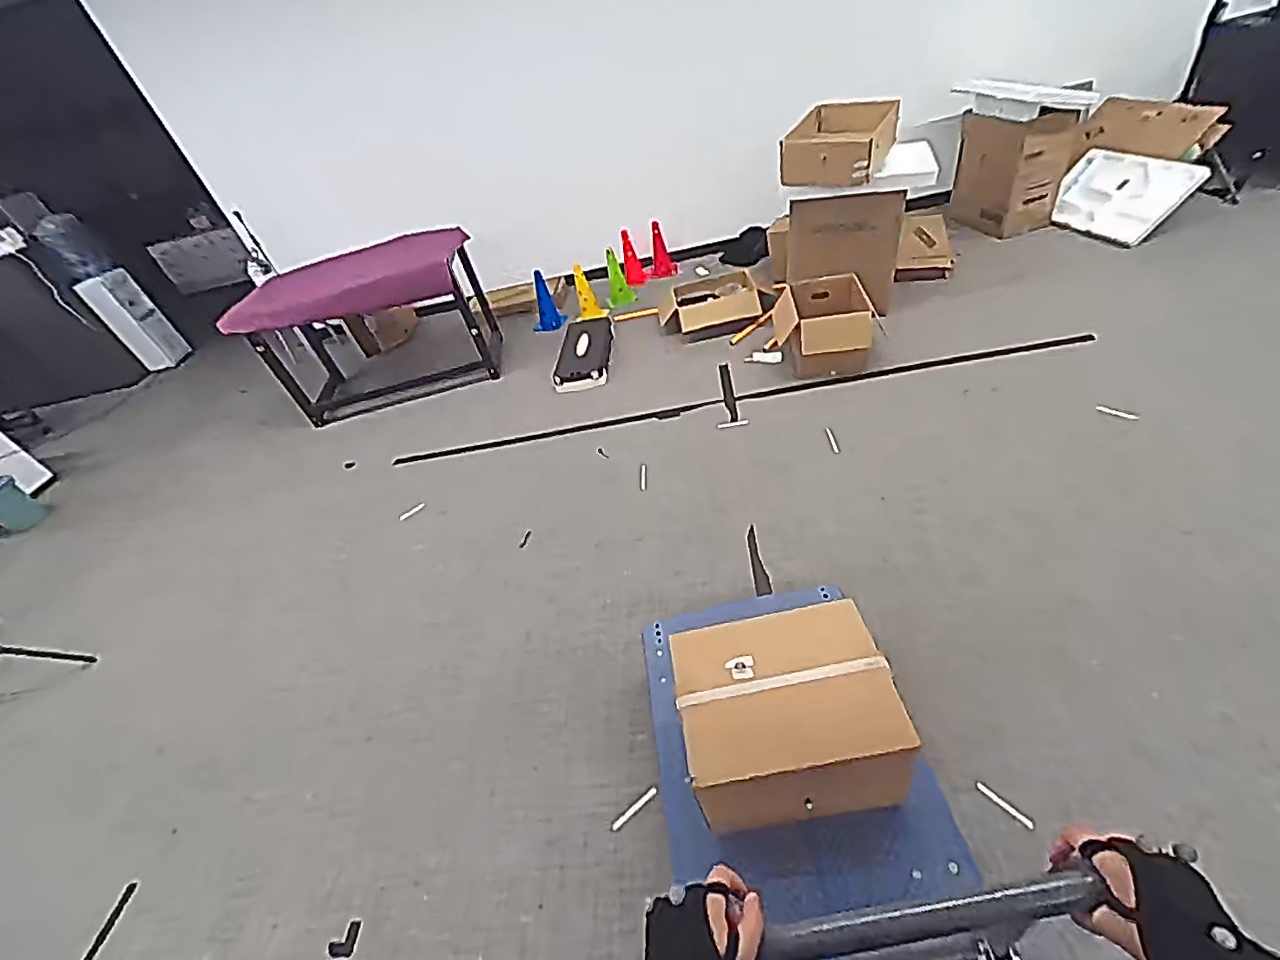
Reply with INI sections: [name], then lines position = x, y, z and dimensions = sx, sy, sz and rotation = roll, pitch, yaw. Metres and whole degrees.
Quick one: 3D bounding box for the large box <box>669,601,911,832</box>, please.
[large box]
position = 0.307, 0.516, 1.172
dimensions = 0.408, 0.320, 0.320
rotation = -14, 40, 4
